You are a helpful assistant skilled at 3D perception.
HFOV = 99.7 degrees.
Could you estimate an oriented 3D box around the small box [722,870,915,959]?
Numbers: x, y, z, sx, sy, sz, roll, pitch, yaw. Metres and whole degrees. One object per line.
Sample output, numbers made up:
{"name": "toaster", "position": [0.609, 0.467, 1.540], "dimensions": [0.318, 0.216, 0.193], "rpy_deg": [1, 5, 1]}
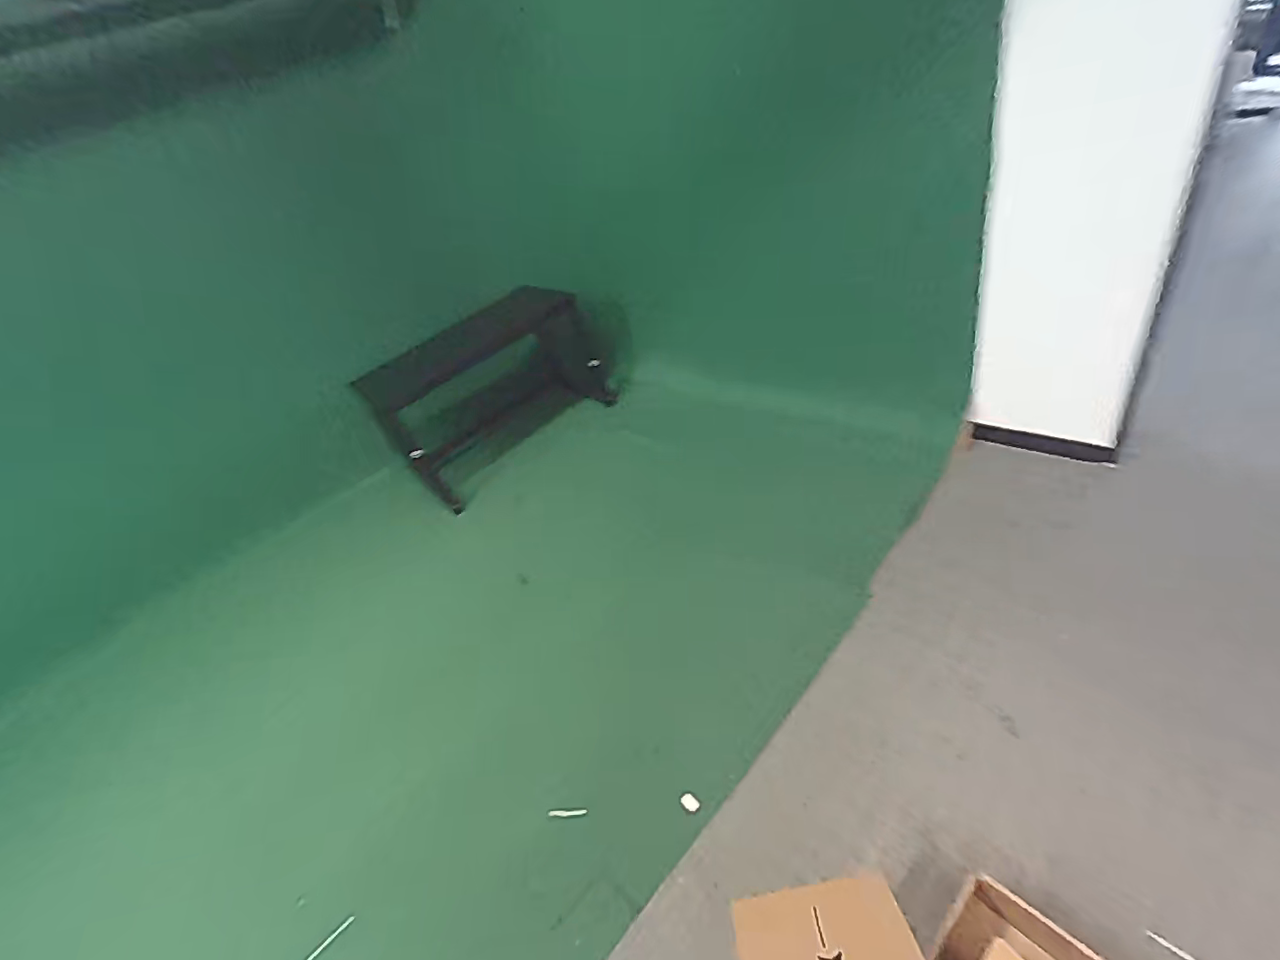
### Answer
{"name": "small box", "position": [0.186, 0.524, 0.506], "dimensions": [0.168, 0.176, 0.179], "rpy_deg": [-13, 13, 1]}
